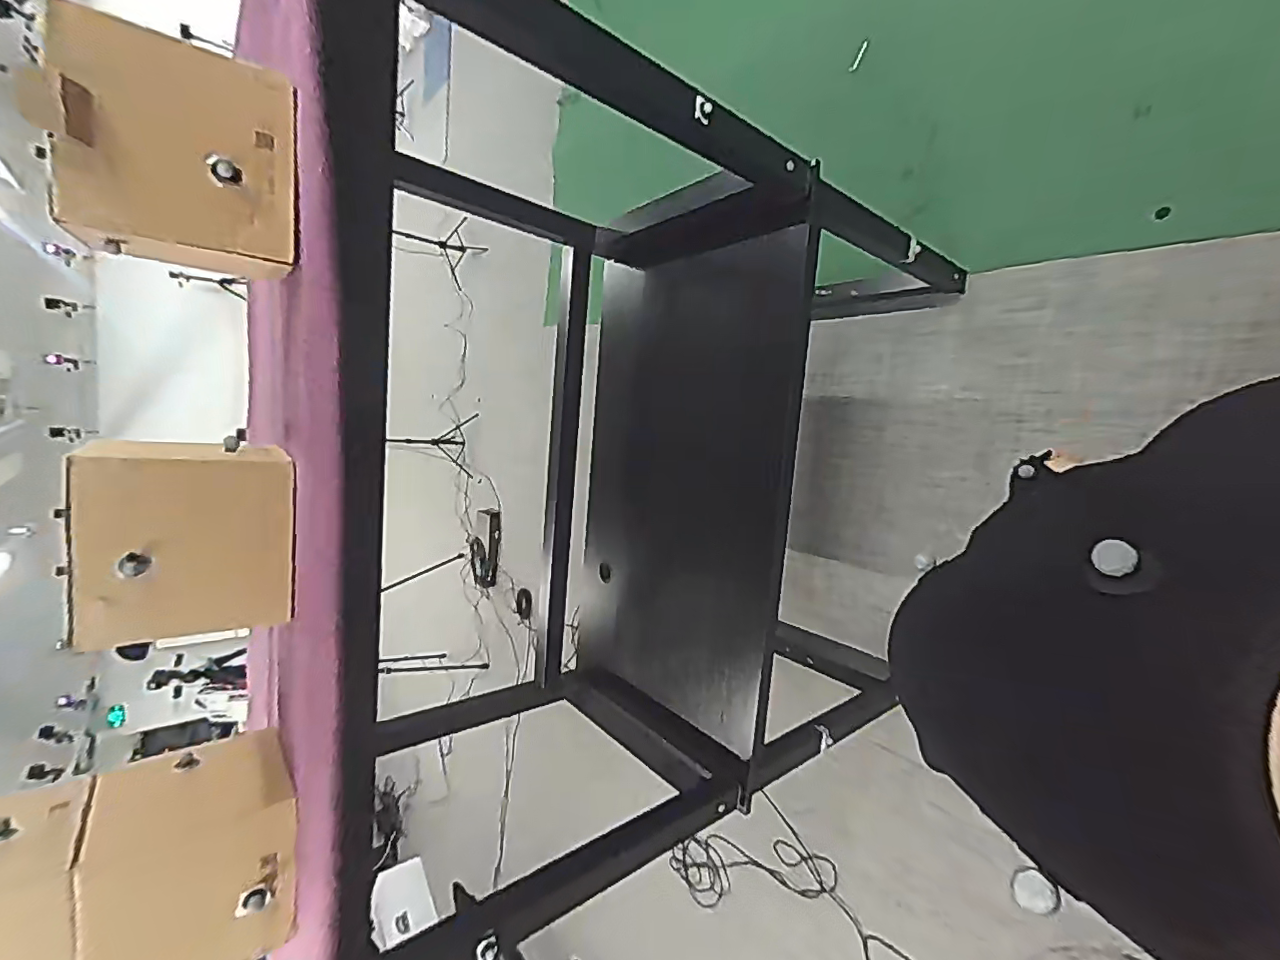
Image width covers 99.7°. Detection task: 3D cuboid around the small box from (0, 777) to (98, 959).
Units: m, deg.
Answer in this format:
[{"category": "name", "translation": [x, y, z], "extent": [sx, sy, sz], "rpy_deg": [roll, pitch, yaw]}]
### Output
[{"category": "small box", "translation": [-0.606, 0.411, 0.484], "extent": [0.168, 0.176, 0.179], "rpy_deg": [5, 95, 50]}]

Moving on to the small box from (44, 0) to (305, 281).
[{"category": "small box", "translation": [-0.441, -0.303, 0.533], "extent": [0.179, 0.176, 0.168], "rpy_deg": [17, 105, 51]}]

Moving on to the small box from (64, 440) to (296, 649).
[{"category": "small box", "translation": [-0.473, 0.054, 0.578], "extent": [0.168, 0.176, 0.179], "rpy_deg": [13, 100, 51]}]

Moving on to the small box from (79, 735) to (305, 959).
[{"category": "small box", "translation": [-0.478, 0.404, 0.587], "extent": [0.179, 0.176, 0.168], "rpy_deg": [6, 96, 49]}]
